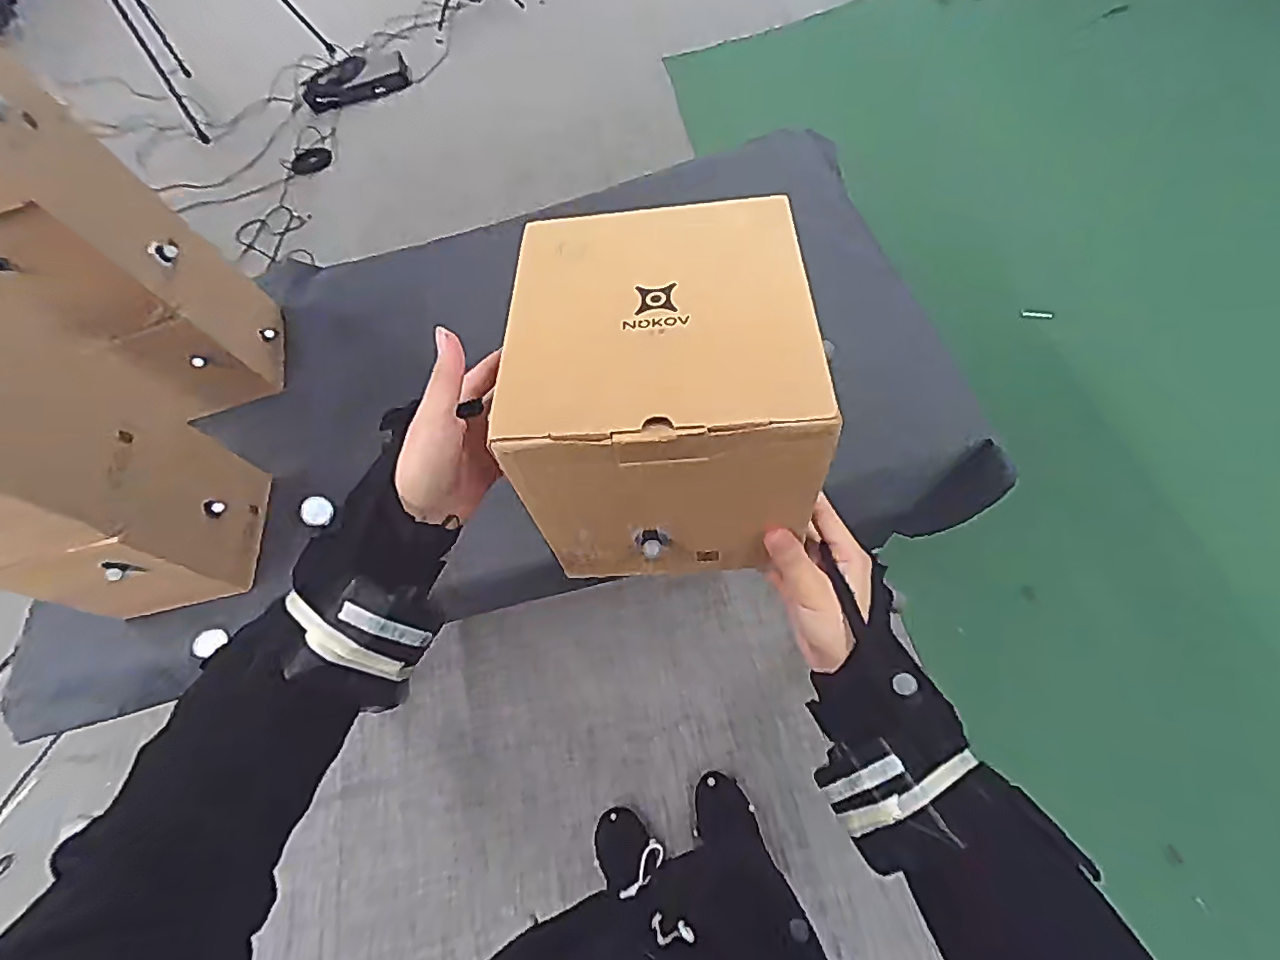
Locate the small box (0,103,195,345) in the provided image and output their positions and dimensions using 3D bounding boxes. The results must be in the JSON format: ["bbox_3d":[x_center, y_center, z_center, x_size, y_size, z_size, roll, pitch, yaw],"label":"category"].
[{"bbox_3d":[-0.675,-0.283,0.626,0.179,0.176,0.168,-18,66,-1],"label":"small box"}]

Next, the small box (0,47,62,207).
[{"bbox_3d":[-0.692,-0.343,0.474,0.179,0.176,0.168,-16,66,0],"label":"small box"}]

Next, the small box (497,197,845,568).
[{"bbox_3d":[0.020,-0.055,0.362,0.168,0.176,0.179,-4,59,5],"label":"small box"}]

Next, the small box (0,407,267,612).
[{"bbox_3d":[-0.585,0.043,0.635,0.179,0.176,0.168,-13,61,3],"label":"small box"}]
